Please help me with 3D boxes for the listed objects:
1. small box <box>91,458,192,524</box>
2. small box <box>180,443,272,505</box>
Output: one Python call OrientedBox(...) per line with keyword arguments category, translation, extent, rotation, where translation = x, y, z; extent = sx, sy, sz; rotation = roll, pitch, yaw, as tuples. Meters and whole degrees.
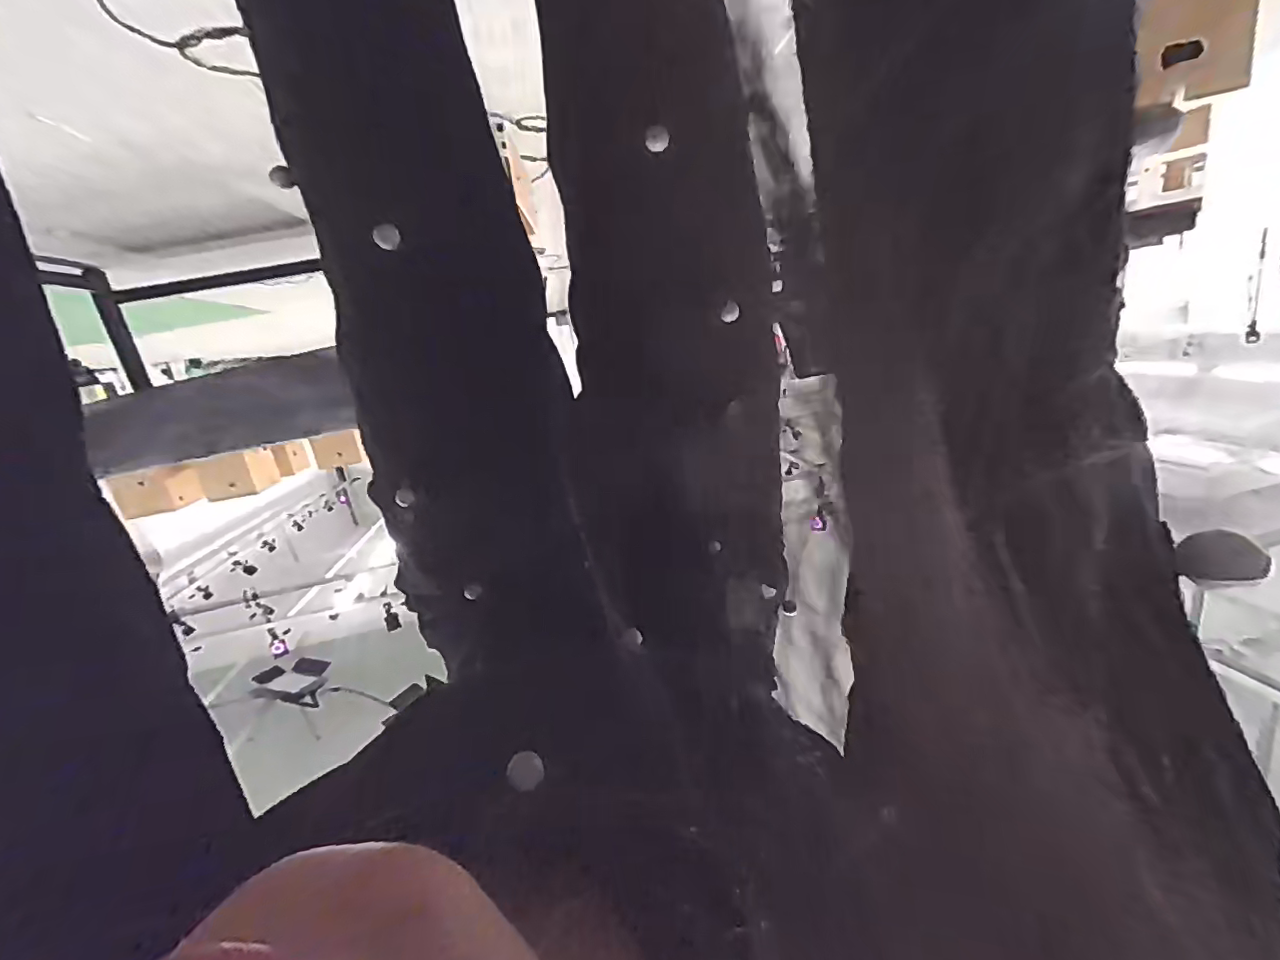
OrientedBox(category="small box", translation=(-1.711, 0.031, 1.862), extent=(0.168, 0.176, 0.179), rotation=(-14, -164, -10))
OrientedBox(category="small box", translation=(-1.461, -0.029, 1.912), extent=(0.179, 0.176, 0.168), rotation=(-11, -164, -4))
